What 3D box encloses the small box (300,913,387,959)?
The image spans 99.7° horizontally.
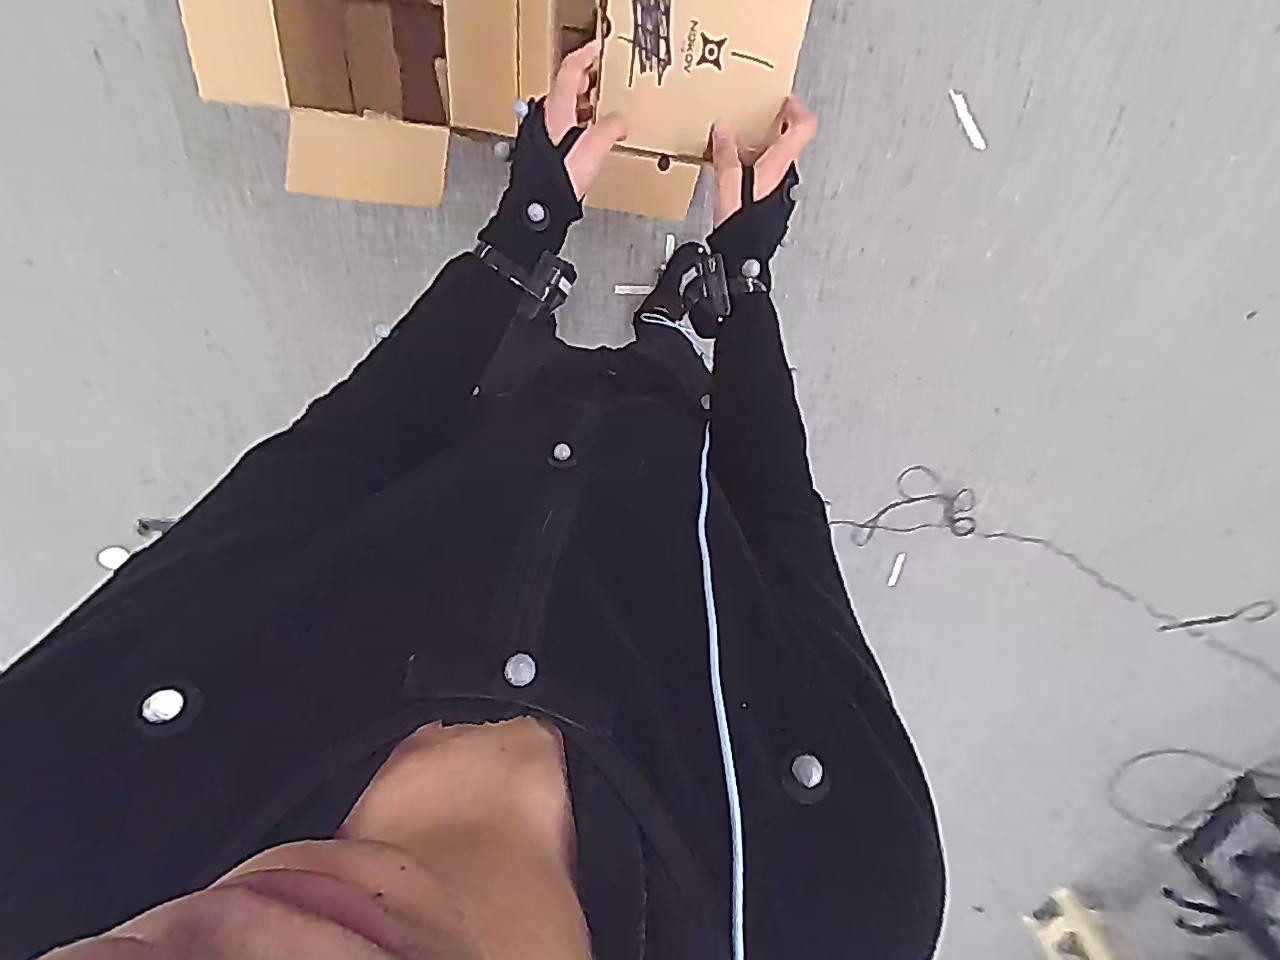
[{"bbox_3d":[-0.811,1.309,1.464,0.179,0.176,0.168,6,117,-5],"label":"small box"}]

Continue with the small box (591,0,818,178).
[{"bbox_3d":[0.047,-0.404,0.530,0.179,0.176,0.168,4,120,-11],"label":"small box"}]
